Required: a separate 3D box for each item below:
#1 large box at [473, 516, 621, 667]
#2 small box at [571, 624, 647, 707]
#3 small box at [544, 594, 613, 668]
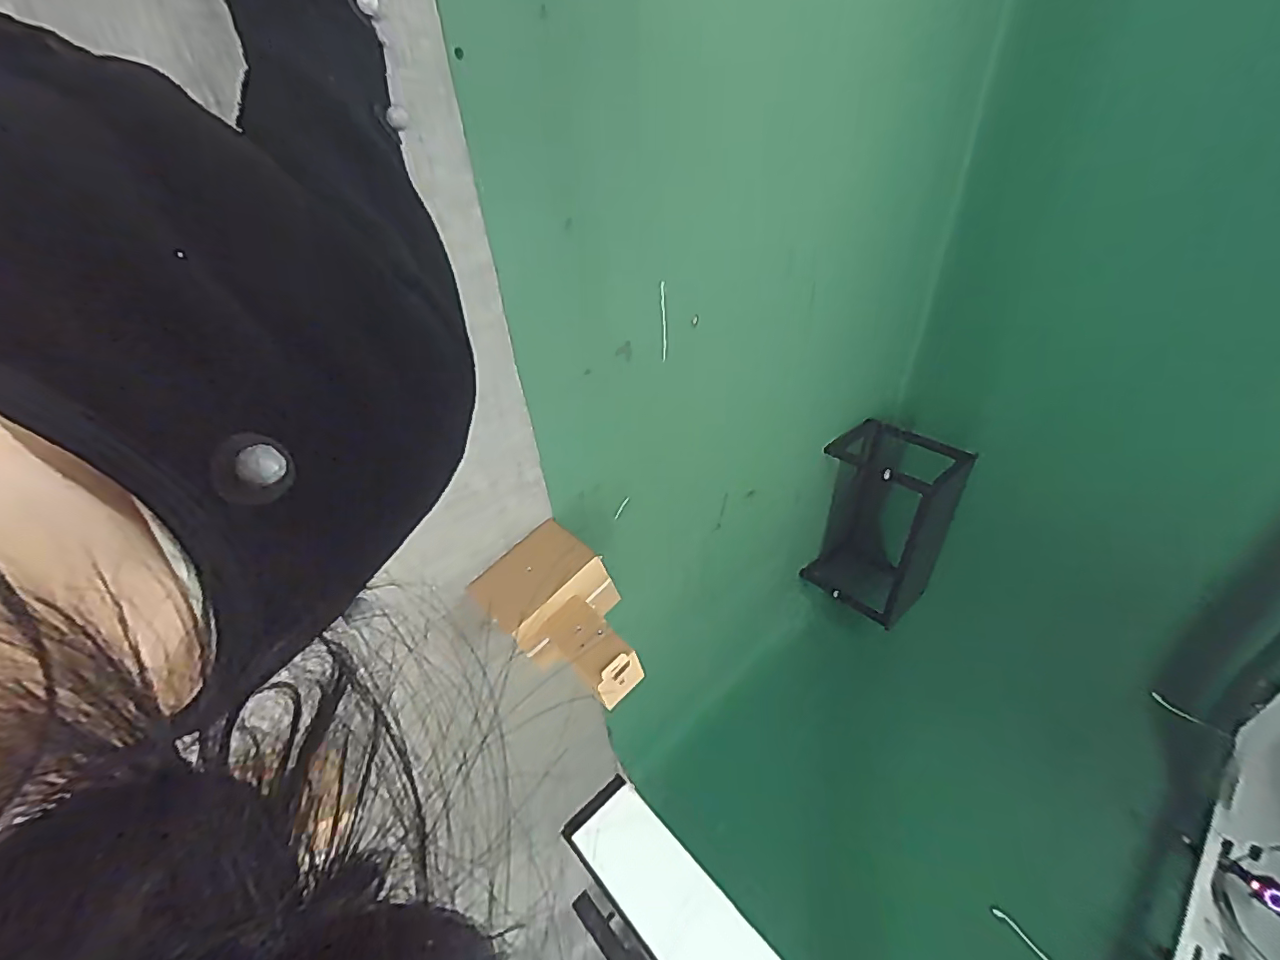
[{"bbox_3d":[-0.351,0.419,2.077,0.408,0.320,0.320,-43,140,-20],"label":"large box"},{"bbox_3d":[-0.106,0.613,1.811,0.168,0.176,0.179,-38,136,-23],"label":"small box"},{"bbox_3d":[-0.208,0.537,1.915,0.179,0.176,0.168,-39,136,-22],"label":"small box"}]
